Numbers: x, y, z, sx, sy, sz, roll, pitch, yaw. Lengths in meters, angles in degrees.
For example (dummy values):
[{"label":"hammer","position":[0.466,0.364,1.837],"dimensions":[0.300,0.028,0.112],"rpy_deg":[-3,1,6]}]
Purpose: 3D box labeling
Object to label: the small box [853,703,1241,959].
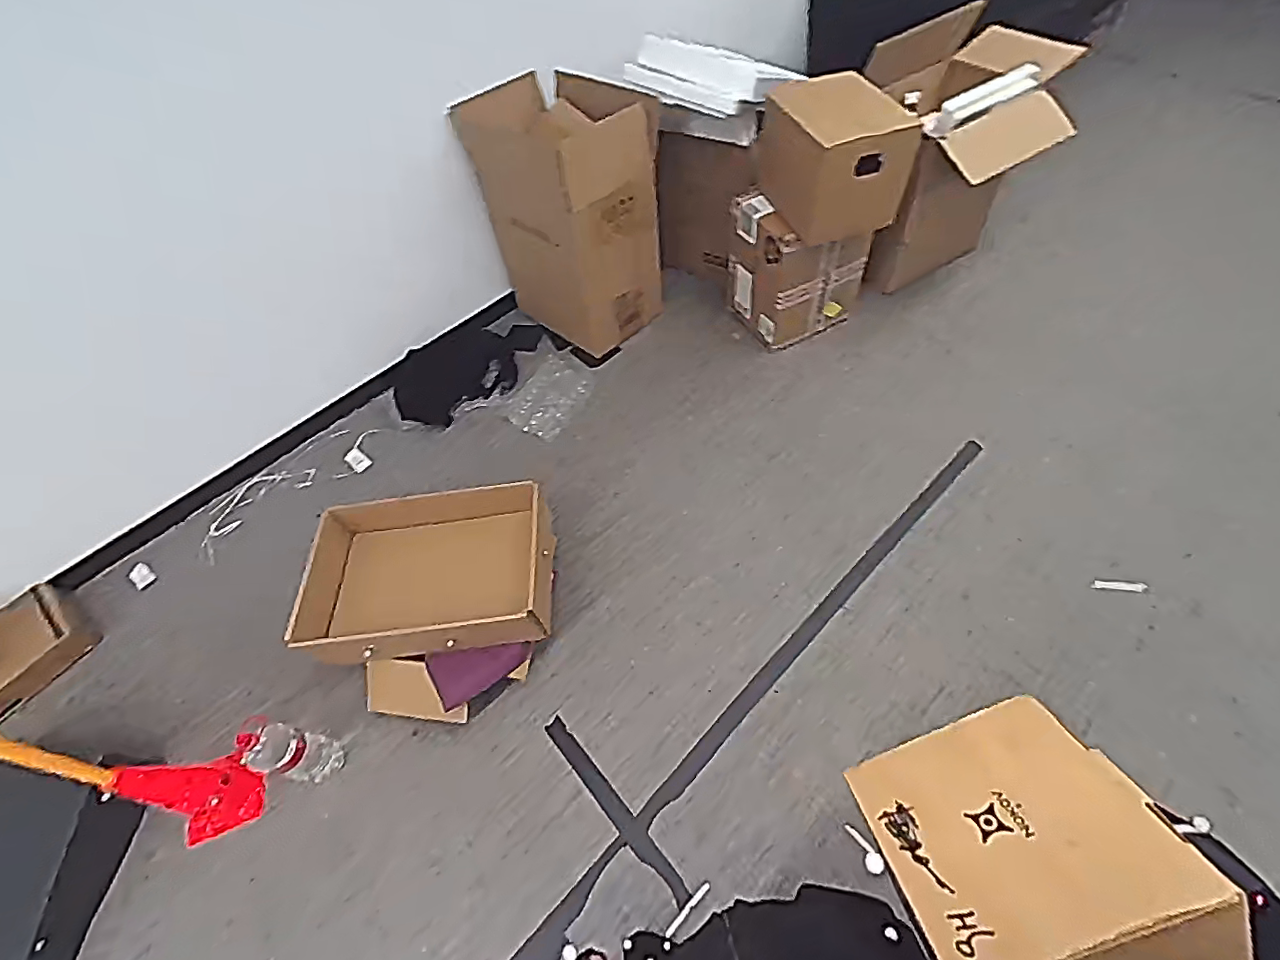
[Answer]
[{"label":"small box","position":[0.305,0.323,0.430],"dimensions":[0.179,0.176,0.168],"rpy_deg":[-25,19,4]}]
